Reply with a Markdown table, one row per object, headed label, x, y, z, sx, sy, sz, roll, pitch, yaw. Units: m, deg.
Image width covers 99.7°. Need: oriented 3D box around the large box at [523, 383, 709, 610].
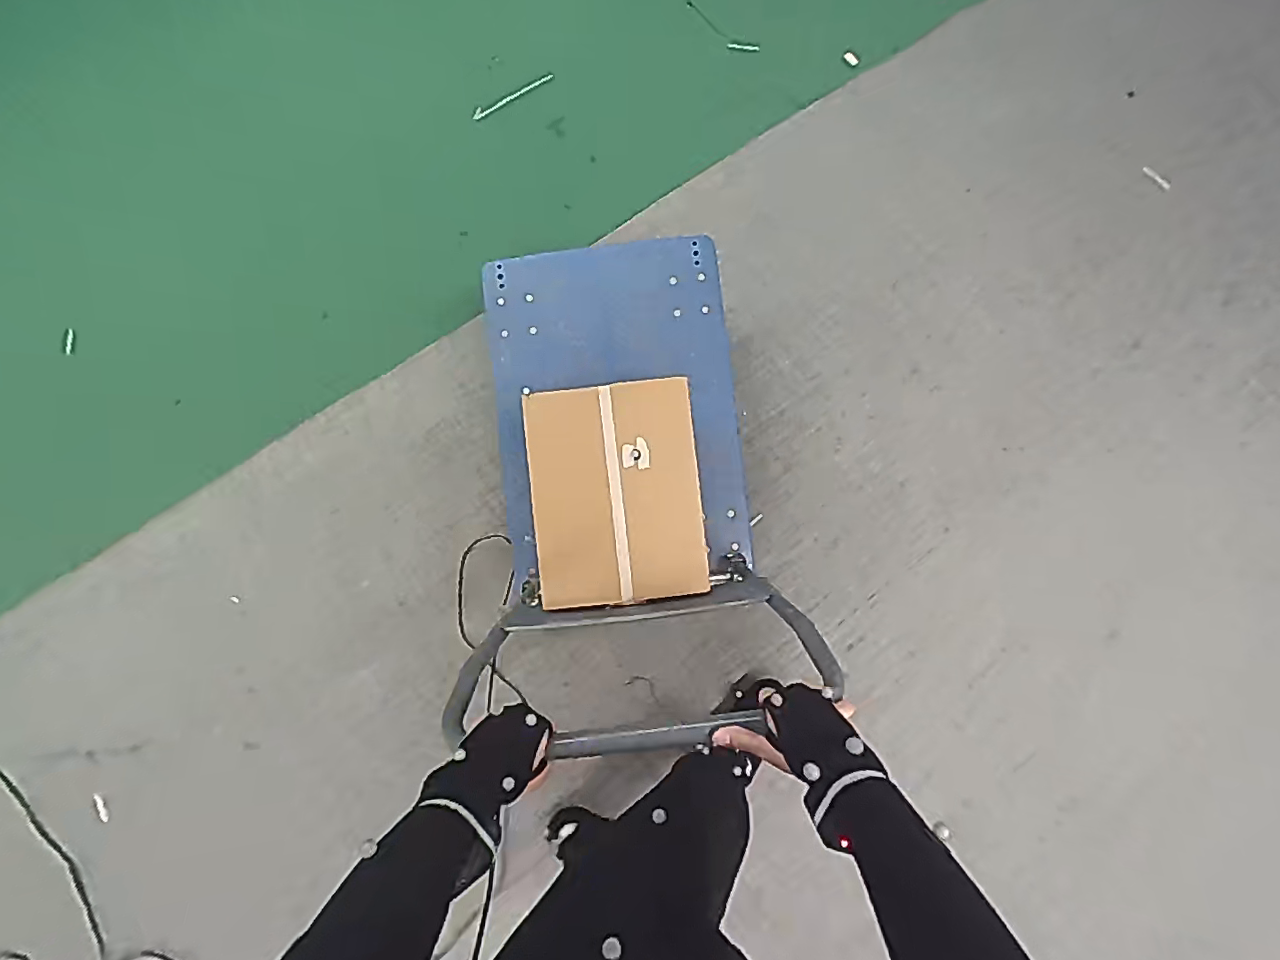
| label | x | y | z | sx | sy | sz | roll | pitch | yaw |
| --- | --- | --- | --- | --- | --- | --- | --- | --- | --- |
| large box | -0.045 | 0.038 | 1.172 | 0.320 | 0.320 | 0.408 | -7 | 87 | -1 |
